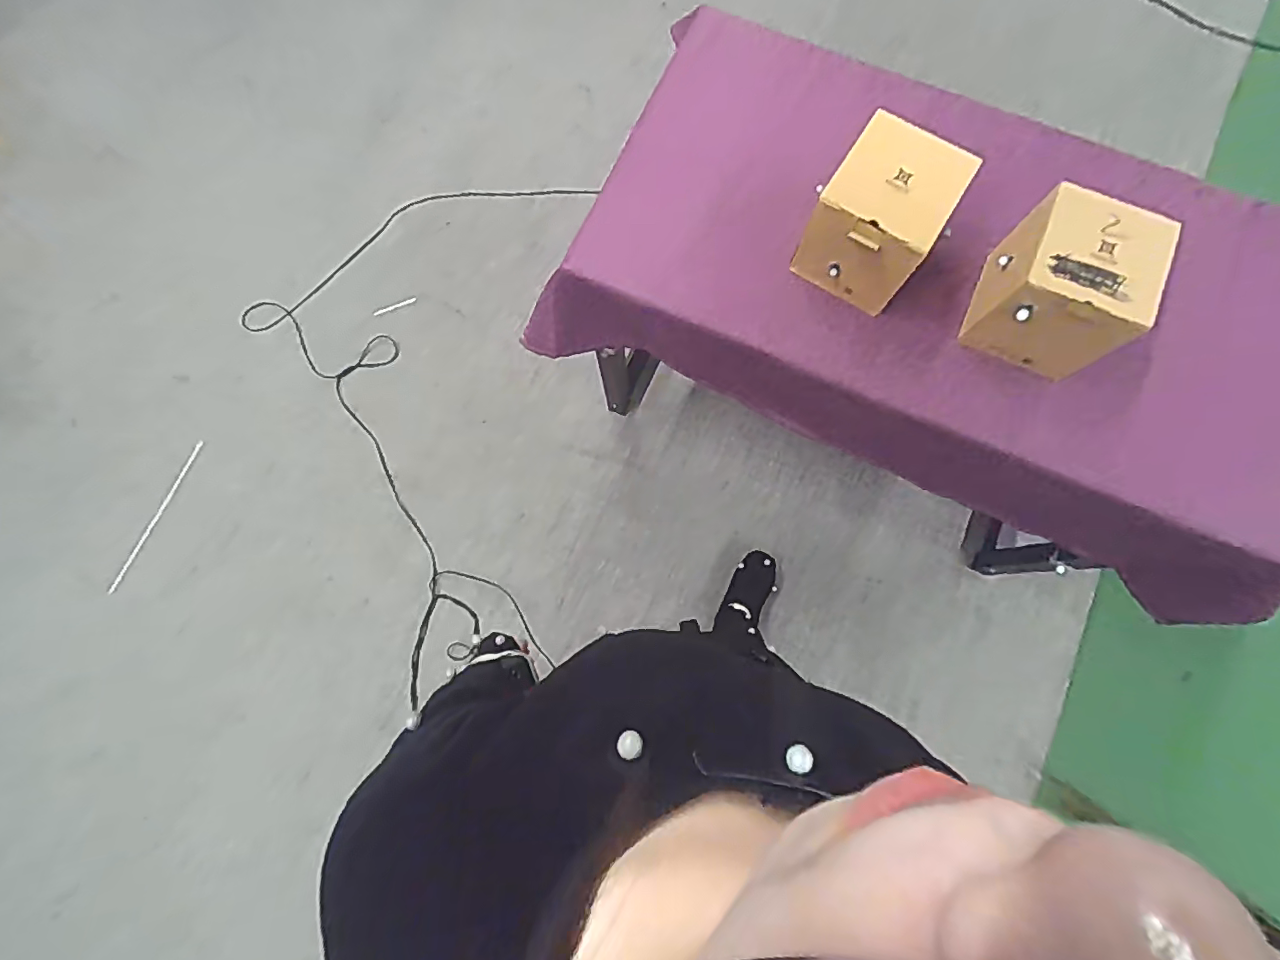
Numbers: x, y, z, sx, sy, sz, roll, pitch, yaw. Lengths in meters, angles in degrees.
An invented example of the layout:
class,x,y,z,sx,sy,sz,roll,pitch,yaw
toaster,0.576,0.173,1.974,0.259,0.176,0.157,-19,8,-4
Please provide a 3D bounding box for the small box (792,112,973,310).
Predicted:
class,x,y,z,sx,sy,sz,roll,pitch,yaw
small box,0.359,-0.404,0.837,0.168,0.176,0.179,32,81,7
